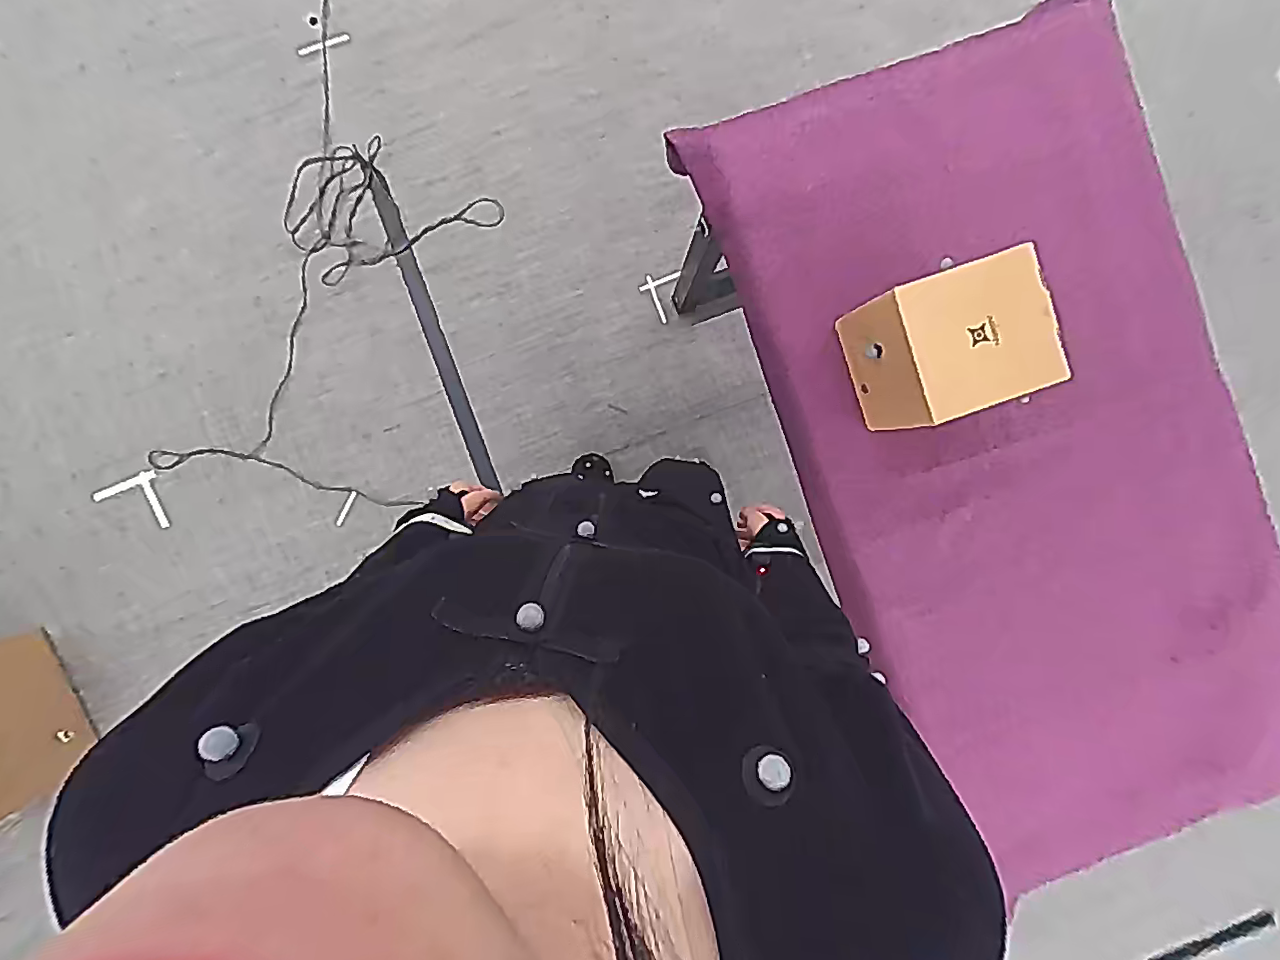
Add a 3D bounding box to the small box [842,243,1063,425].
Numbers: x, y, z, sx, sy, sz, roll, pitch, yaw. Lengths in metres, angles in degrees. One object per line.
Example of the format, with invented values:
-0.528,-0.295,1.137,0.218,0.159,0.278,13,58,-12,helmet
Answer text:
0.388,-0.176,0.709,0.179,0.176,0.168,-19,94,-3,small box
